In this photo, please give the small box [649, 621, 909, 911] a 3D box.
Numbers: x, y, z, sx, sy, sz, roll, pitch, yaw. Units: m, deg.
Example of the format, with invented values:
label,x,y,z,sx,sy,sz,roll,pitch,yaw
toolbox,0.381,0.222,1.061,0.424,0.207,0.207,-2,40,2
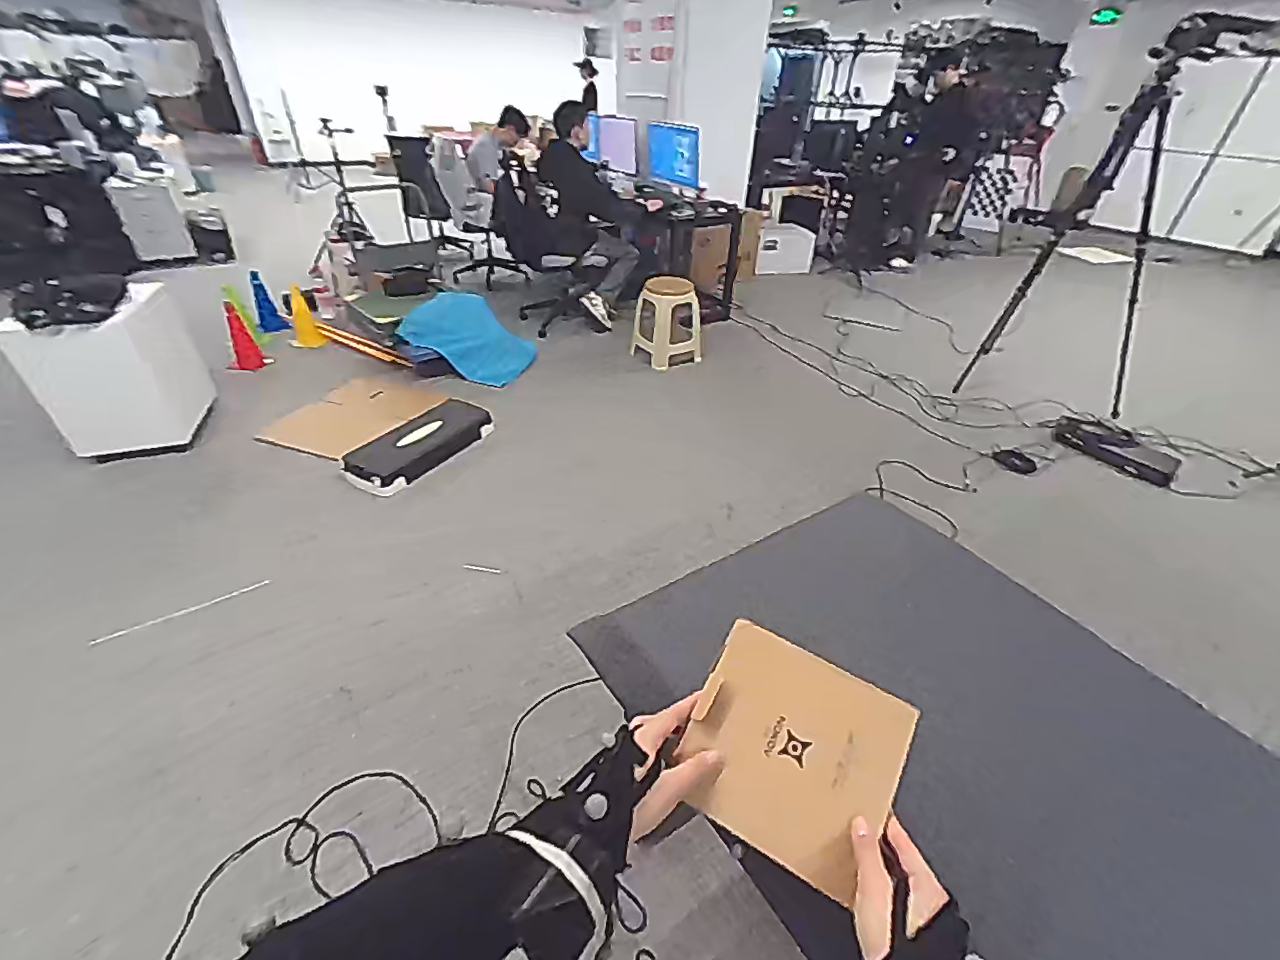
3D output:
label,x,y,z,sx,sy,sz,roll,pitch,yaw
small box,0.124,0.270,0.527,0.179,0.176,0.168,24,64,16
